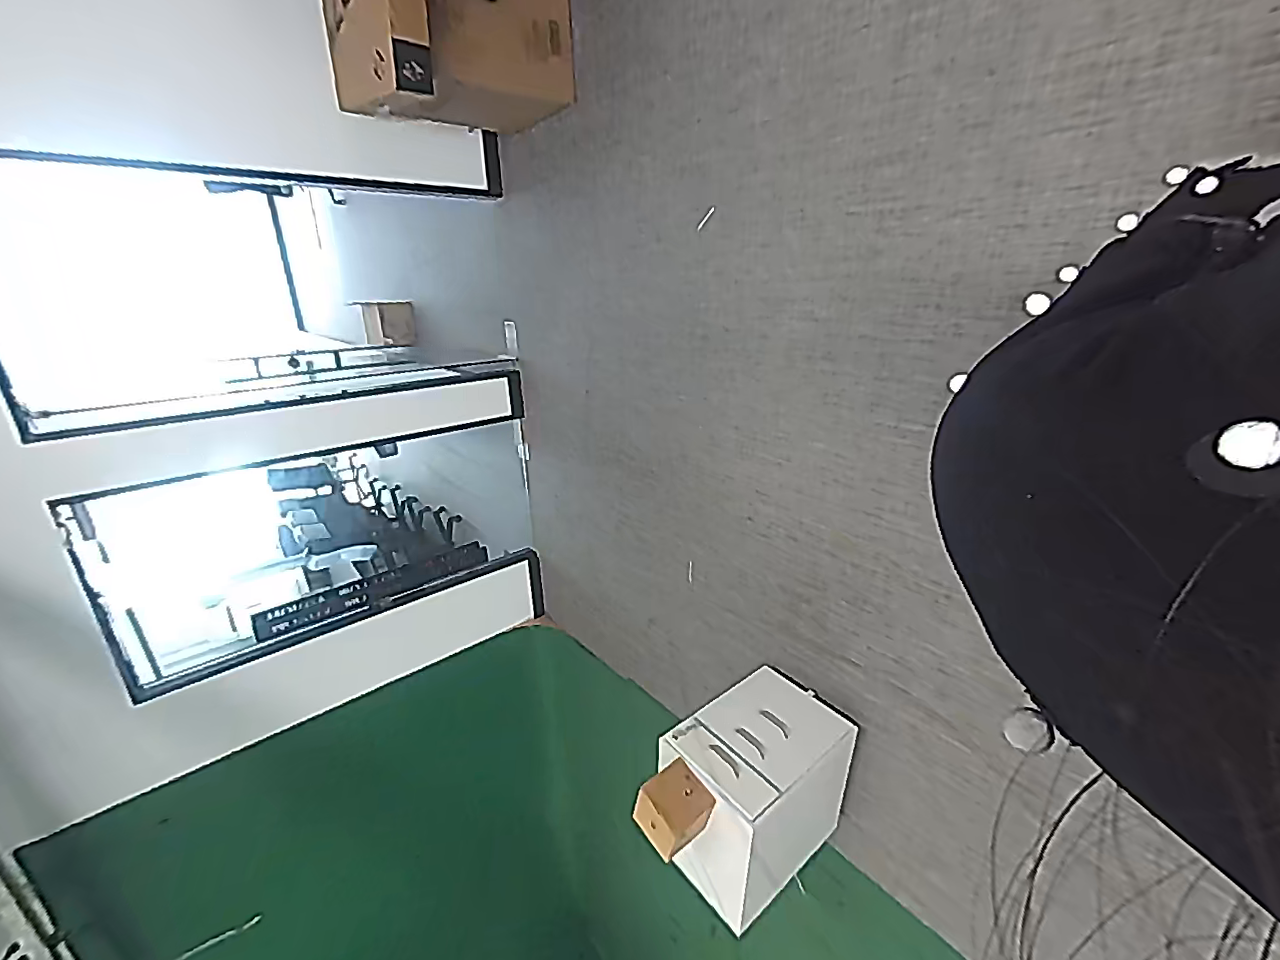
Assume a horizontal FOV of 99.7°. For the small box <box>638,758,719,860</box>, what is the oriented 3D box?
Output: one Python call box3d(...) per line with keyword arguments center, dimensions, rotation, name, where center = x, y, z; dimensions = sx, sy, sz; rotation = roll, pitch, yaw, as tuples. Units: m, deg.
box3d(center=(0.118, 0.999, 1.649), dimensions=(0.168, 0.176, 0.179), rotation=(38, 132, 38), name="small box")
